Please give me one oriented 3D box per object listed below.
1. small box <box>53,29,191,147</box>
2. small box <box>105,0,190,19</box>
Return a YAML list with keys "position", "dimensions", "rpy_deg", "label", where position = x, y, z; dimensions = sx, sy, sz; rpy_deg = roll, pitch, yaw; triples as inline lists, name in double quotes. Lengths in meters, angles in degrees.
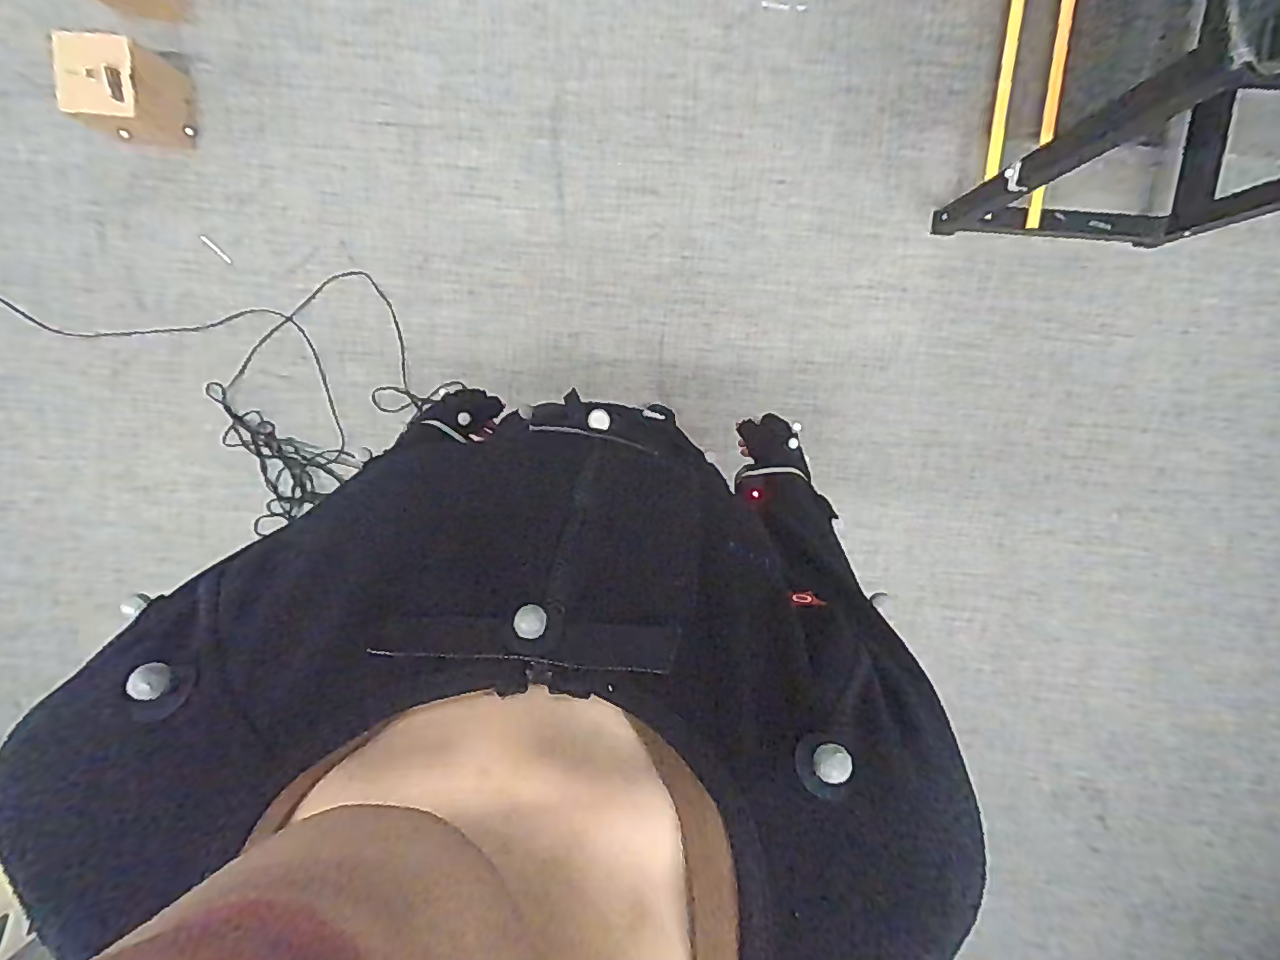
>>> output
- position: [-1.200, -0.911, 1.271]
  dimensions: [0.179, 0.176, 0.168]
  rpy_deg: [4, 99, 0]
  label: "small box"
- position: [-1.178, -1.197, 1.228]
  dimensions: [0.179, 0.176, 0.168]
  rpy_deg: [5, 99, -1]
  label: "small box"
